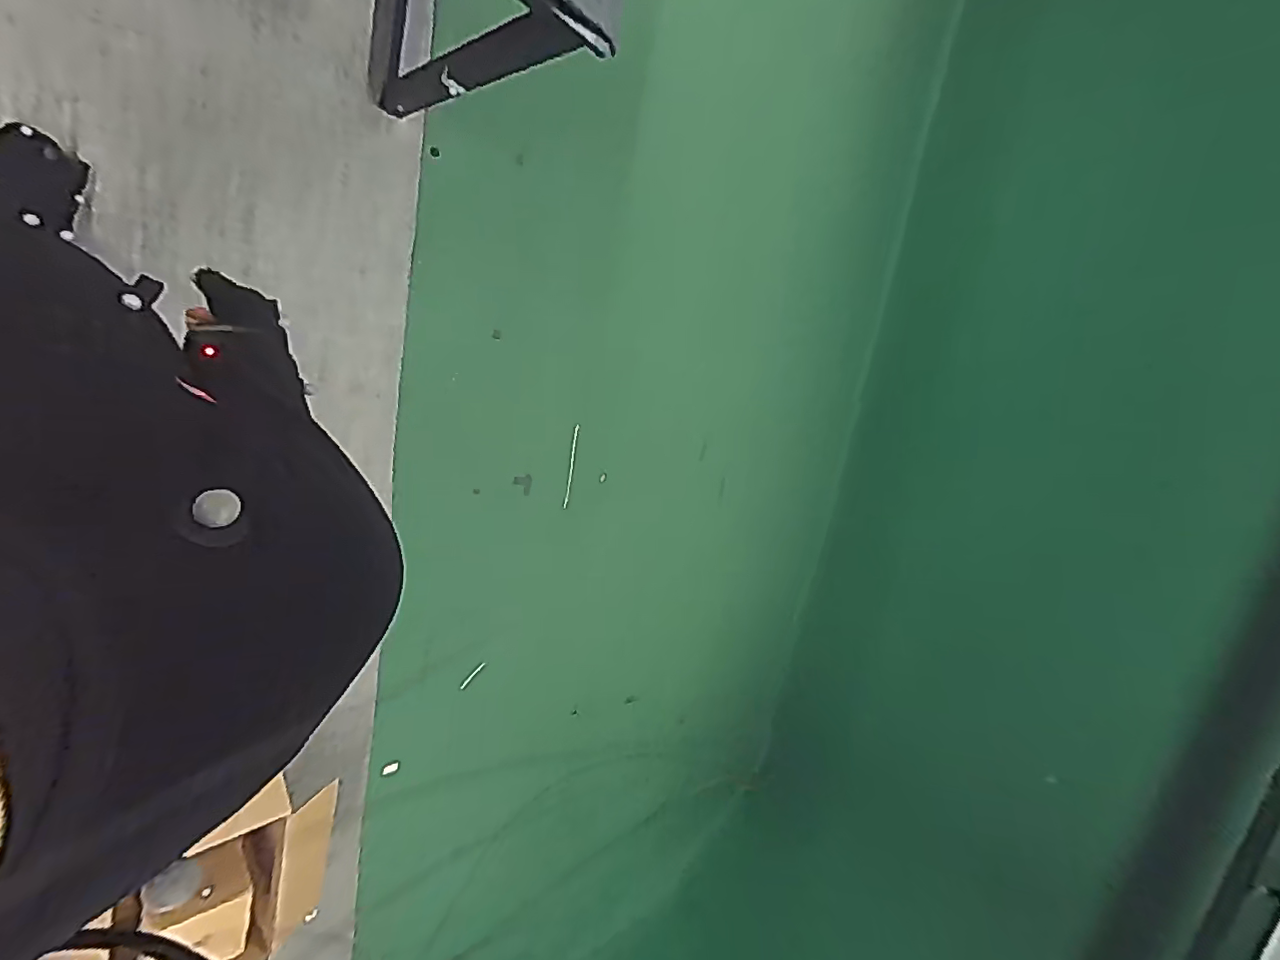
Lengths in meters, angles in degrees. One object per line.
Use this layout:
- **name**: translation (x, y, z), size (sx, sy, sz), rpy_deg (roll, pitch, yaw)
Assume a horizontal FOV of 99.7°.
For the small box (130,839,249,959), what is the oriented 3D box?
- **small box**: translation (-0.994, 0.949, 1.190), size (0.179, 0.176, 0.168), rpy_deg (3, 103, -49)
